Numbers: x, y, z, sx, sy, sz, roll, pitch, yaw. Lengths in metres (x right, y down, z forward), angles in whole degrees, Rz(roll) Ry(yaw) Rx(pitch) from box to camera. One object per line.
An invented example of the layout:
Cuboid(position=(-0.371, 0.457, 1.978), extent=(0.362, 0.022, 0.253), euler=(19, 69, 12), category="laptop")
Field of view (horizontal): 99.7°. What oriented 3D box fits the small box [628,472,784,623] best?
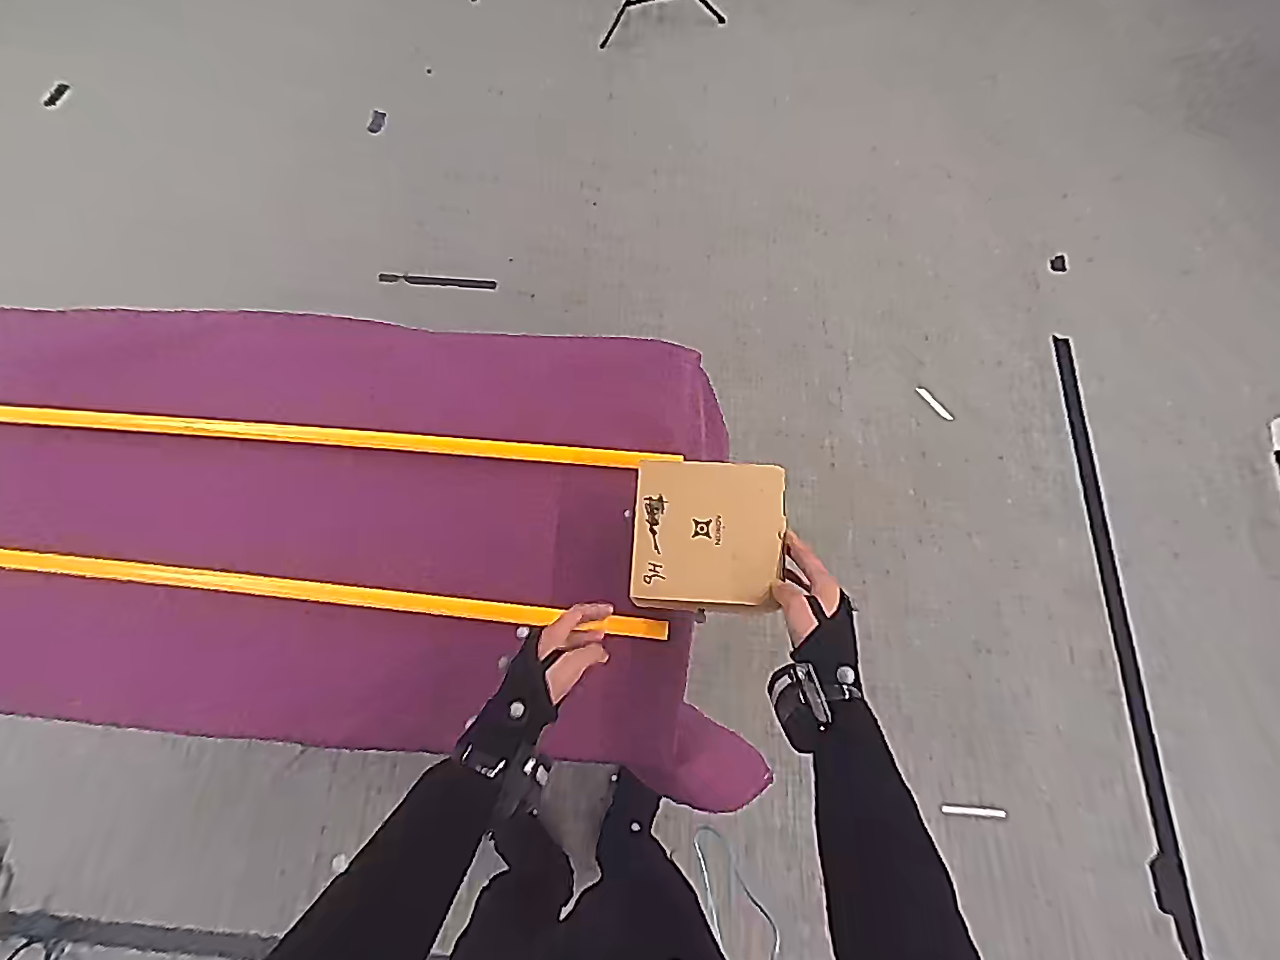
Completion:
Cuboid(position=(0.082, 0.097, 0.708), extent=(0.179, 0.176, 0.168), euler=(4, 74, 4), category="small box")
